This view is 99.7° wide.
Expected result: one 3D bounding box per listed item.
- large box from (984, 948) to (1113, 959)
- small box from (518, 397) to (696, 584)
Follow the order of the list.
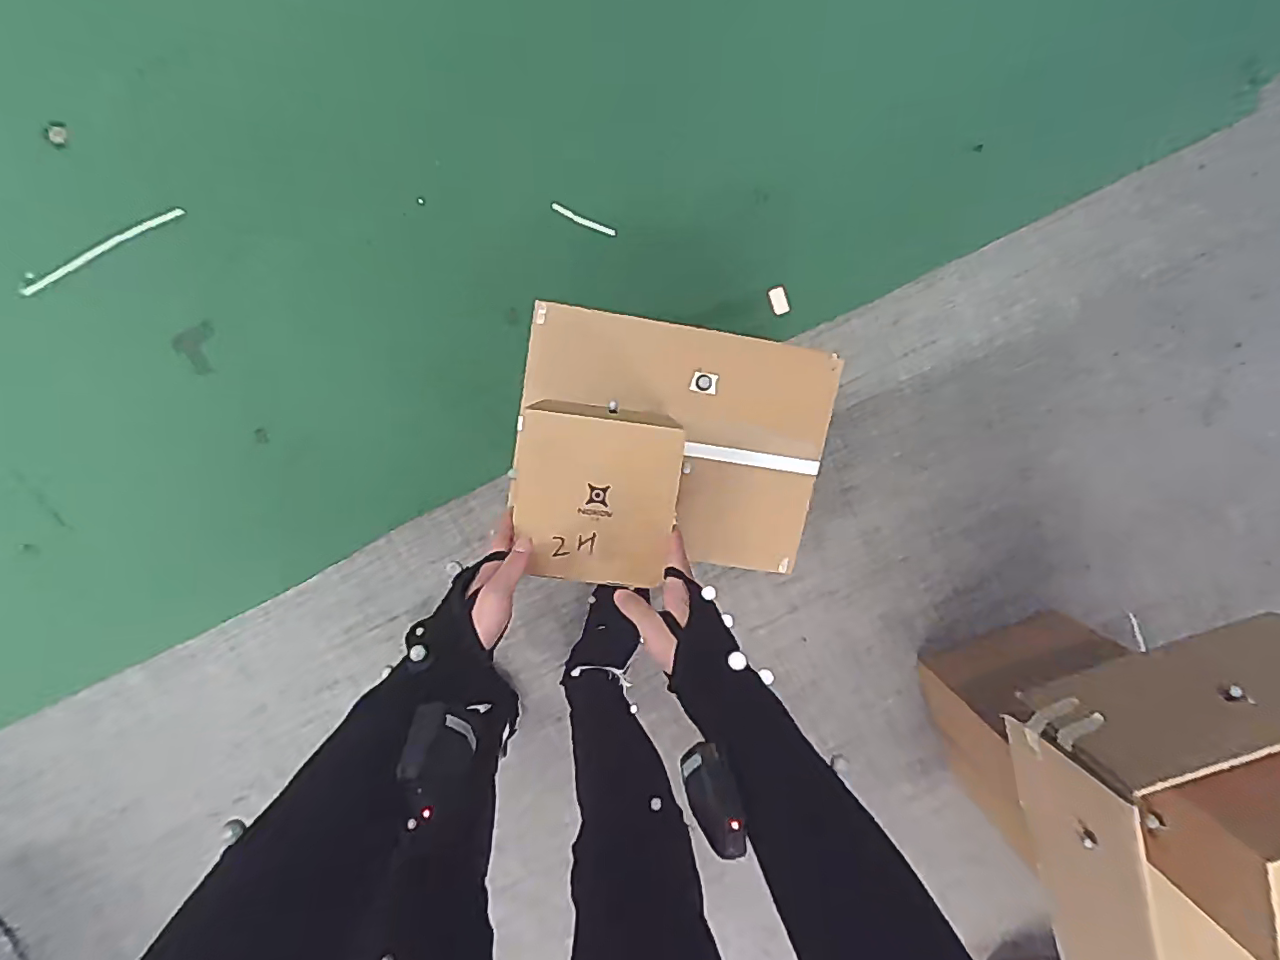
[{"bbox_3d":[0.979,1.349,1.177,0.320,0.320,0.408,-3,100,-2],"label":"large box"},{"bbox_3d":[-0.040,0.001,0.627,0.168,0.176,0.179,7,102,-4],"label":"small box"}]
